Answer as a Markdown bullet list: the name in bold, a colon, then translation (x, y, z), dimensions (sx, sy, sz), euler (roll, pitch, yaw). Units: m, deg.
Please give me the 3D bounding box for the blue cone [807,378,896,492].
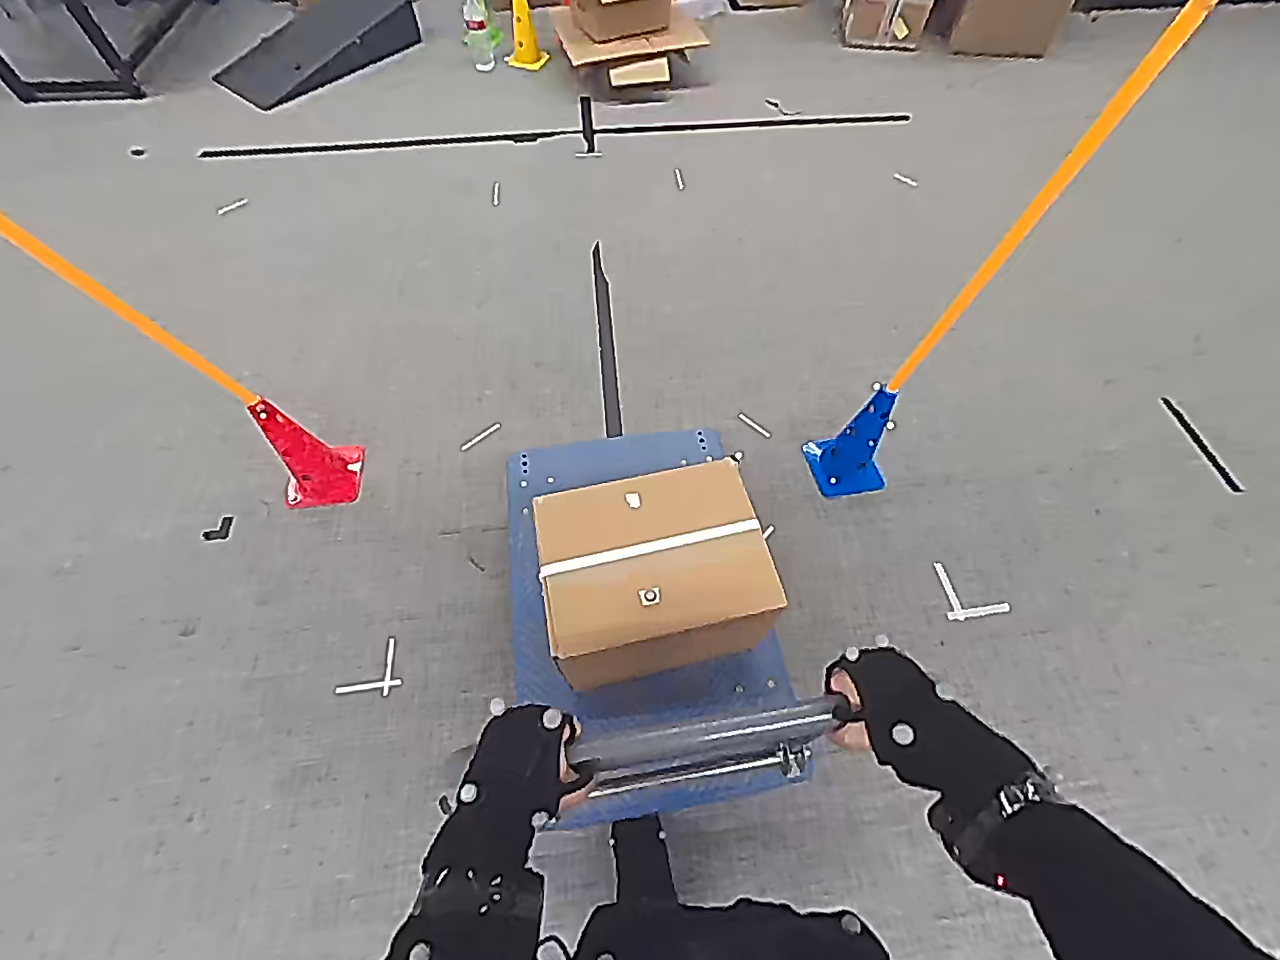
- **blue cone**: translation (0.622, -0.136, 1.499), dimensions (0.193, 0.380, 0.192), euler (-8, 59, -6)
